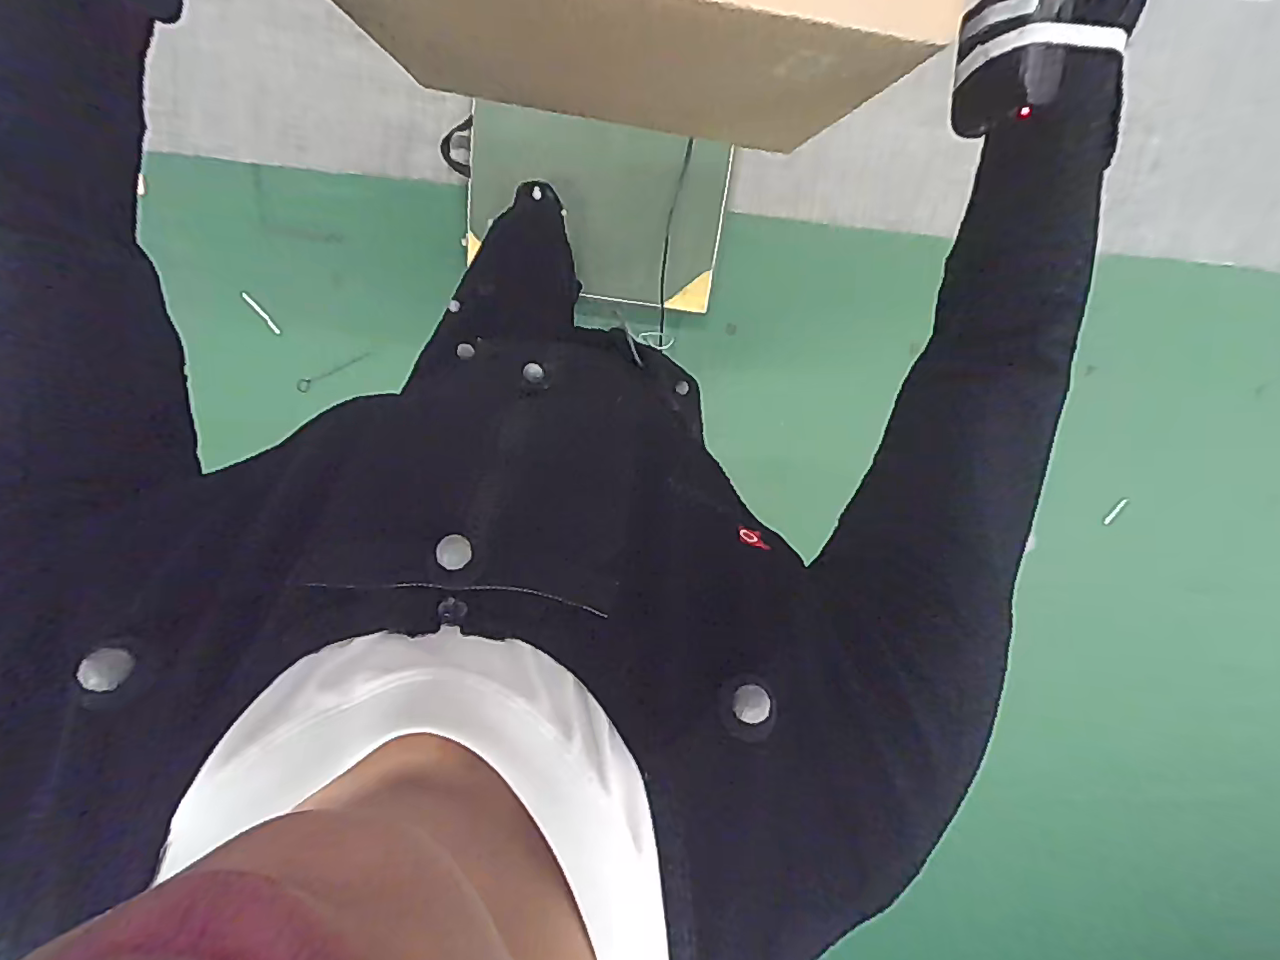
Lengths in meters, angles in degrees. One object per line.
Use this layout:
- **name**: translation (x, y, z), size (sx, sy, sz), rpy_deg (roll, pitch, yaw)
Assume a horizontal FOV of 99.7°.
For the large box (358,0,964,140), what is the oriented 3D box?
- **large box**: translation (0.002, -0.482, 0.391), size (0.408, 0.320, 0.320), rpy_deg (6, 111, -6)
